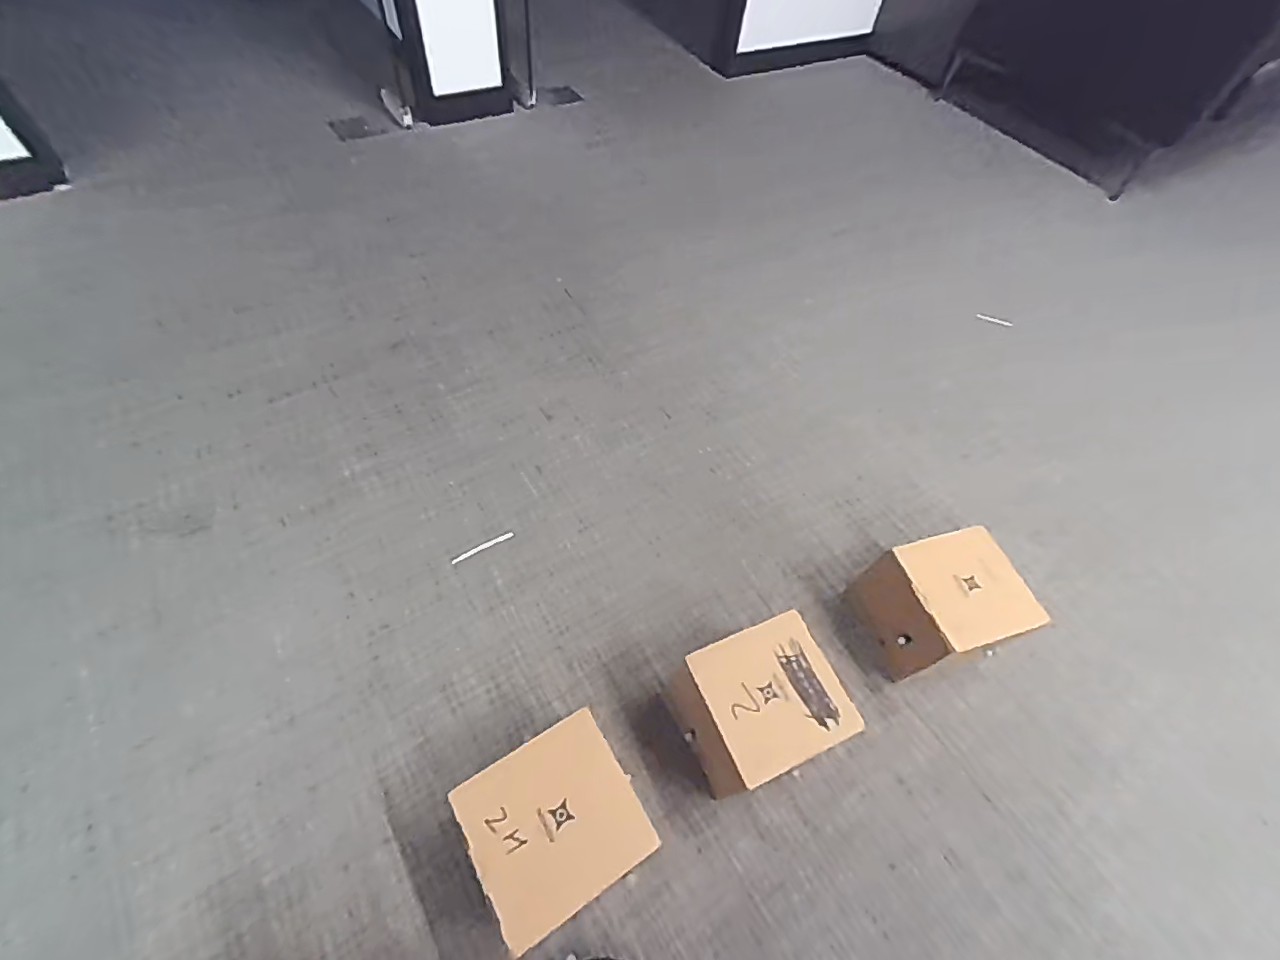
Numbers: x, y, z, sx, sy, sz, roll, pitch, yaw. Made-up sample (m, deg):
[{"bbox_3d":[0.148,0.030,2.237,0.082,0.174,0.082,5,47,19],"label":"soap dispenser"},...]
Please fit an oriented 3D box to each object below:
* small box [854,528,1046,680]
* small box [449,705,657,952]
[{"bbox_3d":[0.466,0.199,0.854,0.179,0.176,0.168,-10,59,-14],"label":"small box"},{"bbox_3d":[-0.103,0.403,0.646,0.179,0.176,0.168,-25,62,-21],"label":"small box"}]
